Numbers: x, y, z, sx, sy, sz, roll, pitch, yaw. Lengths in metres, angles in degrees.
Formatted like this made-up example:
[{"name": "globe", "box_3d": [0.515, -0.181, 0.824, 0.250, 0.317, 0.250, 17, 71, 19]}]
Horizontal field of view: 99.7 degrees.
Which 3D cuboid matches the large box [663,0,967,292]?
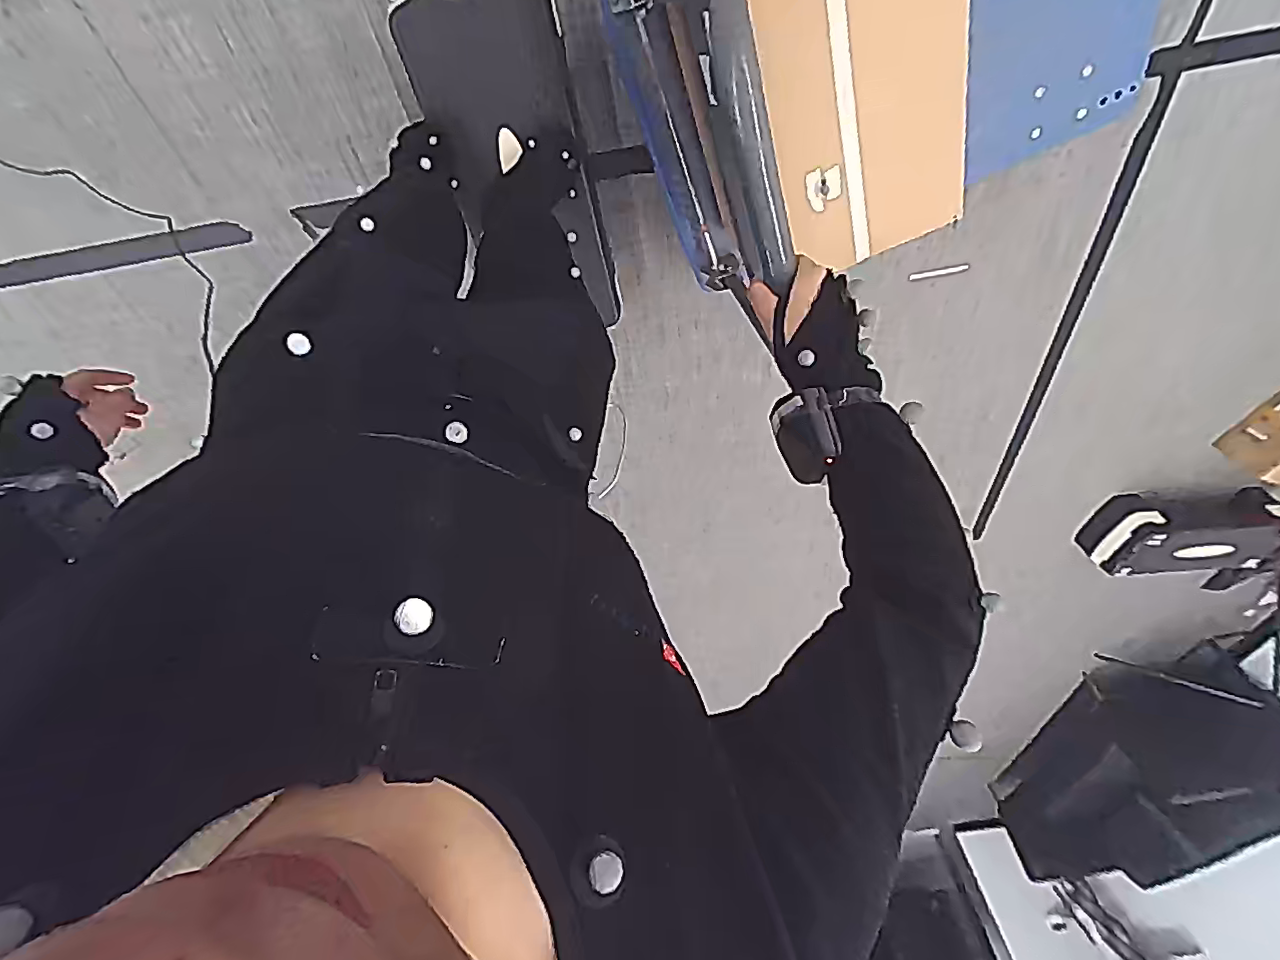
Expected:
[{"name": "large box", "box_3d": [0.262, -0.587, 0.834, 0.320, 0.320, 0.408, -20, 134, 11]}]
